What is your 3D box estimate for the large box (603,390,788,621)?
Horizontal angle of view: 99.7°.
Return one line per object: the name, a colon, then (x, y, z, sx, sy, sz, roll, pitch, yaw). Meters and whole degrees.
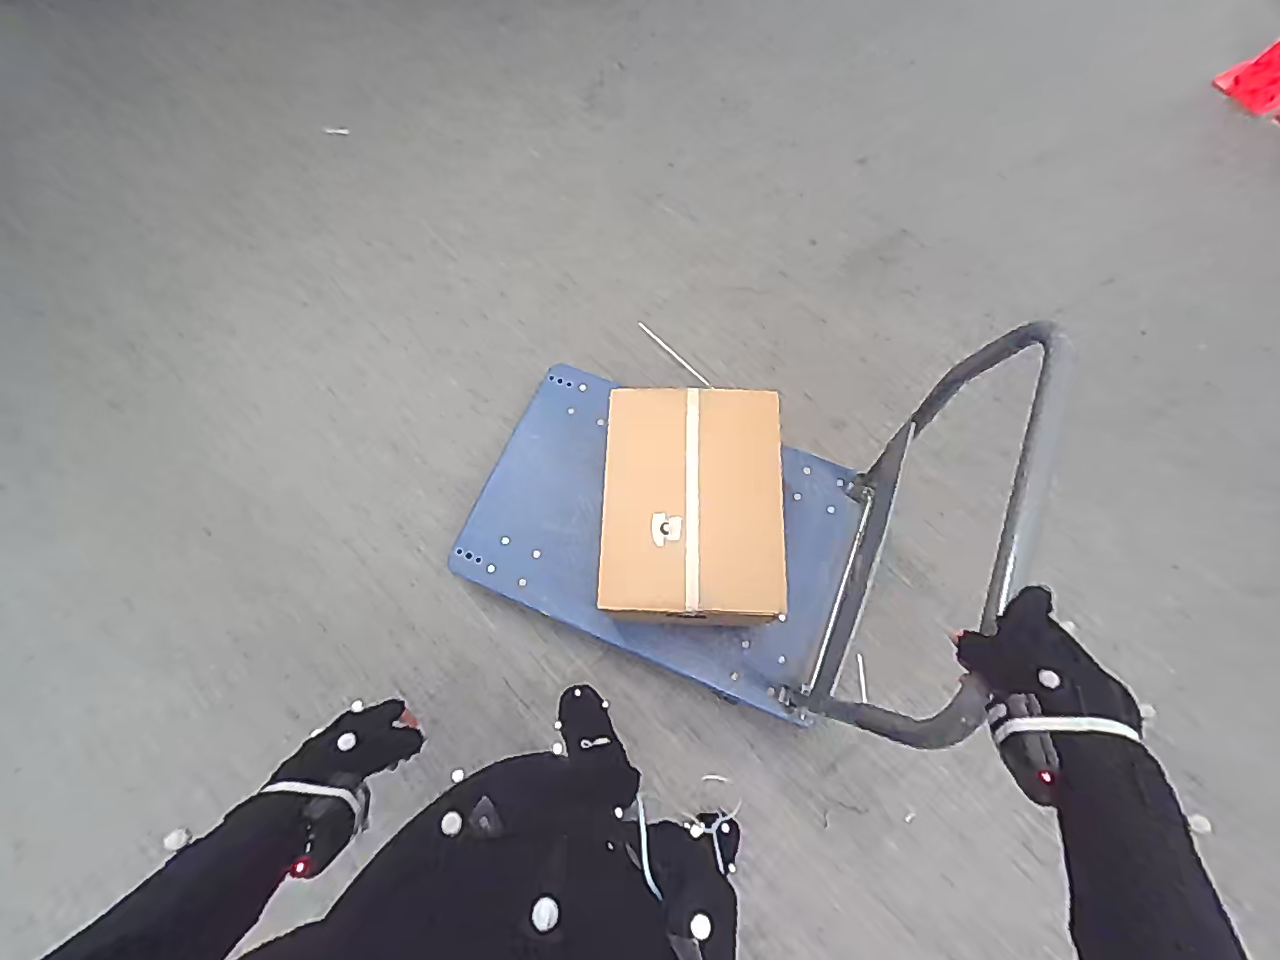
large box: (0.098, 0.066, 1.089, 0.320, 0.320, 0.408, 2, 73, 3)
